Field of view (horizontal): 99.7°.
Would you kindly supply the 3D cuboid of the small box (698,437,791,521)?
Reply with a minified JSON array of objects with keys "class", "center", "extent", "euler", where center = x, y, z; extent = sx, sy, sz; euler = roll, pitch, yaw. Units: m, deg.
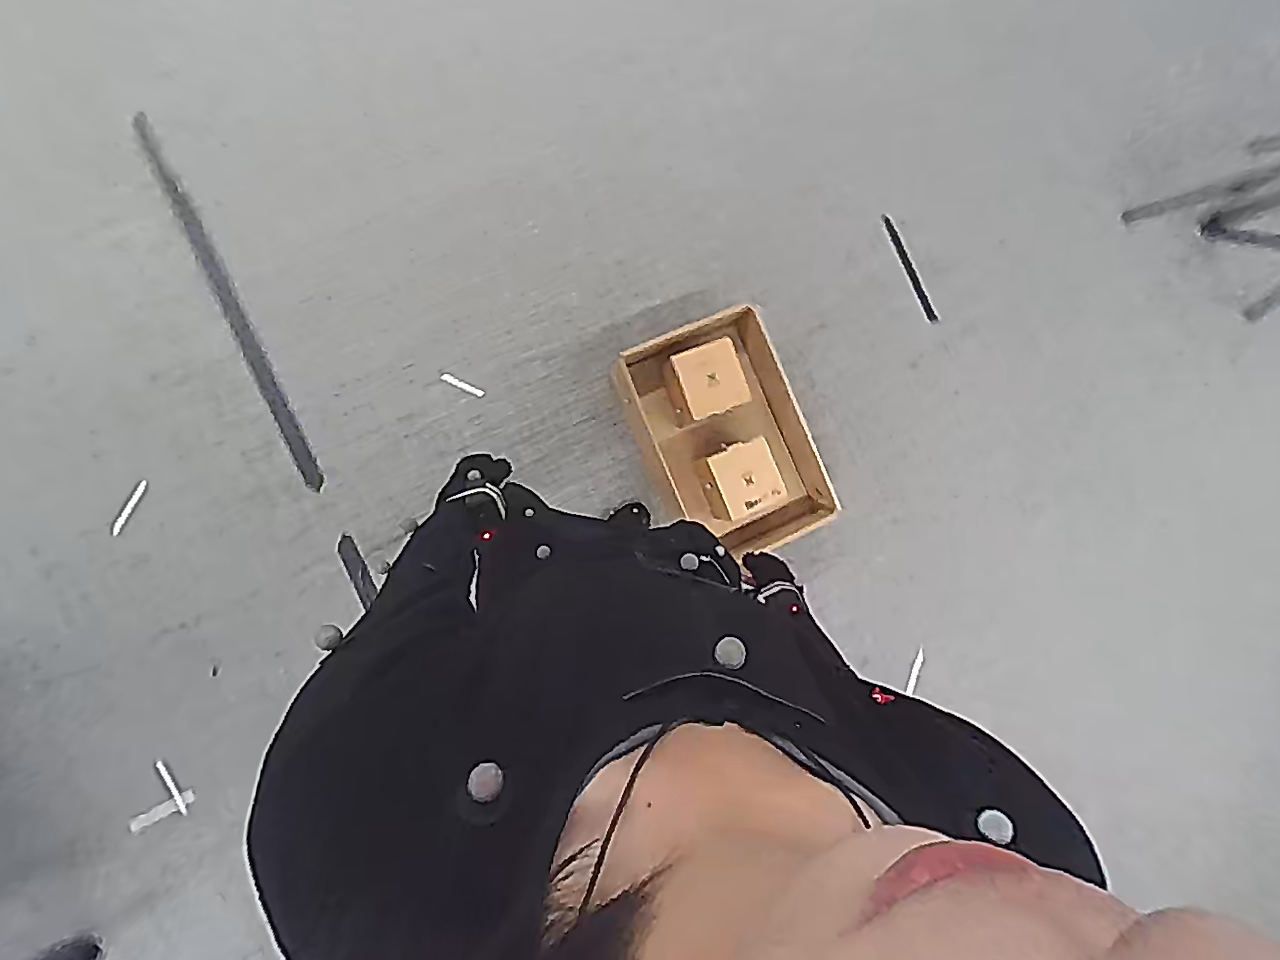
[{"class":"small box","center":[0.273,0.003,1.454],"extent":[0.168,0.176,0.179],"euler":[-23,90,-8]}]

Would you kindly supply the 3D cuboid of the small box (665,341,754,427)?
[{"class":"small box","center":[0.180,-0.247,1.448],"extent":[0.168,0.176,0.179],"euler":[-21,91,-9]}]
